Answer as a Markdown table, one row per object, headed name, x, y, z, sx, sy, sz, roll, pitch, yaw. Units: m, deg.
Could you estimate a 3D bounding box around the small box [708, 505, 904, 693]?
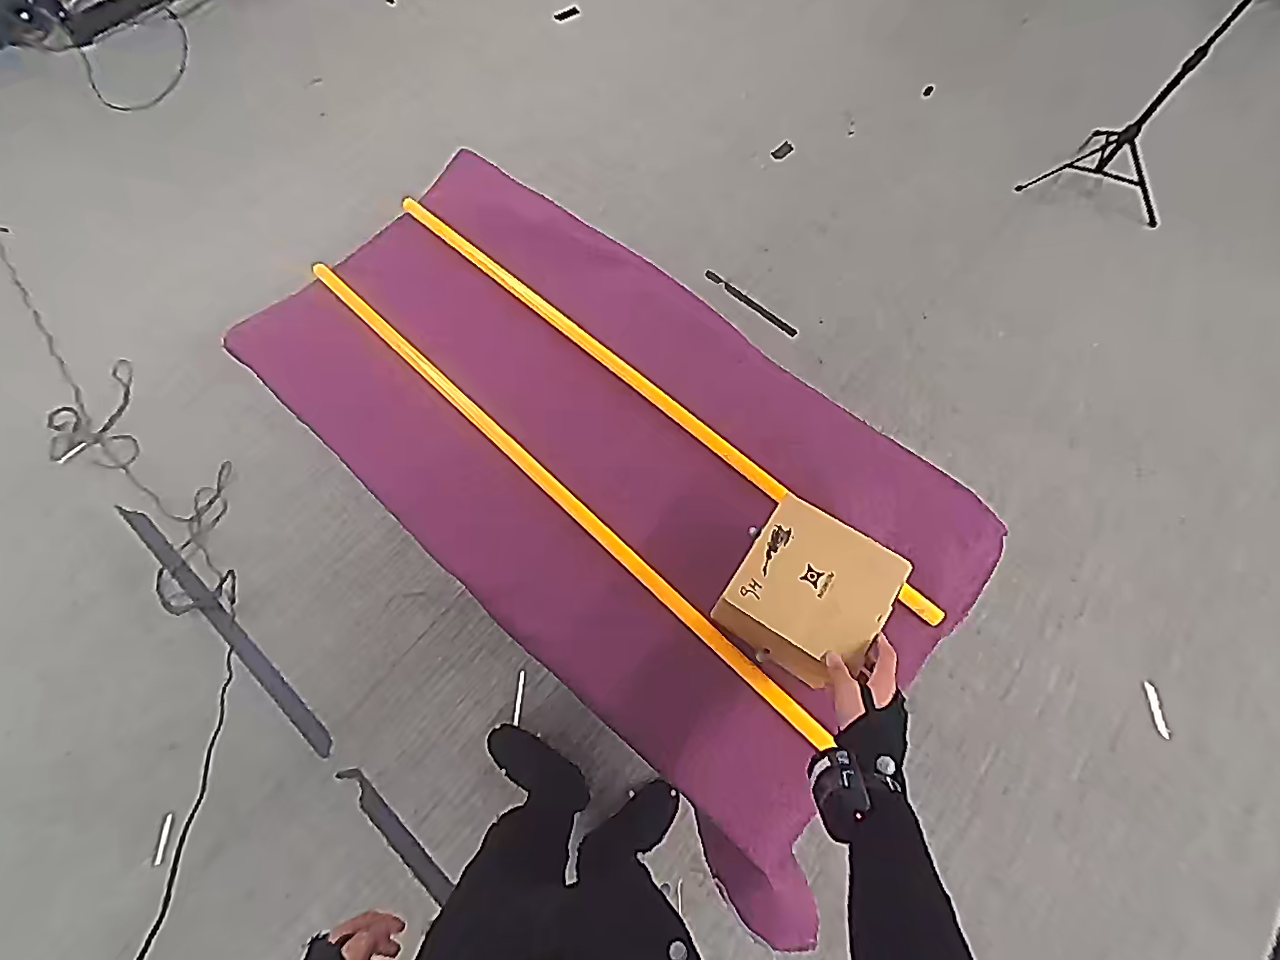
| name | x | y | z | sx | sy | sz | roll | pitch | yaw |
| --- | --- | --- | --- | --- | --- | --- | --- | --- | --- |
| small box | 0.211 | 0.165 | 0.733 | 0.179 | 0.176 | 0.168 | 33 | 73 | 13 |
